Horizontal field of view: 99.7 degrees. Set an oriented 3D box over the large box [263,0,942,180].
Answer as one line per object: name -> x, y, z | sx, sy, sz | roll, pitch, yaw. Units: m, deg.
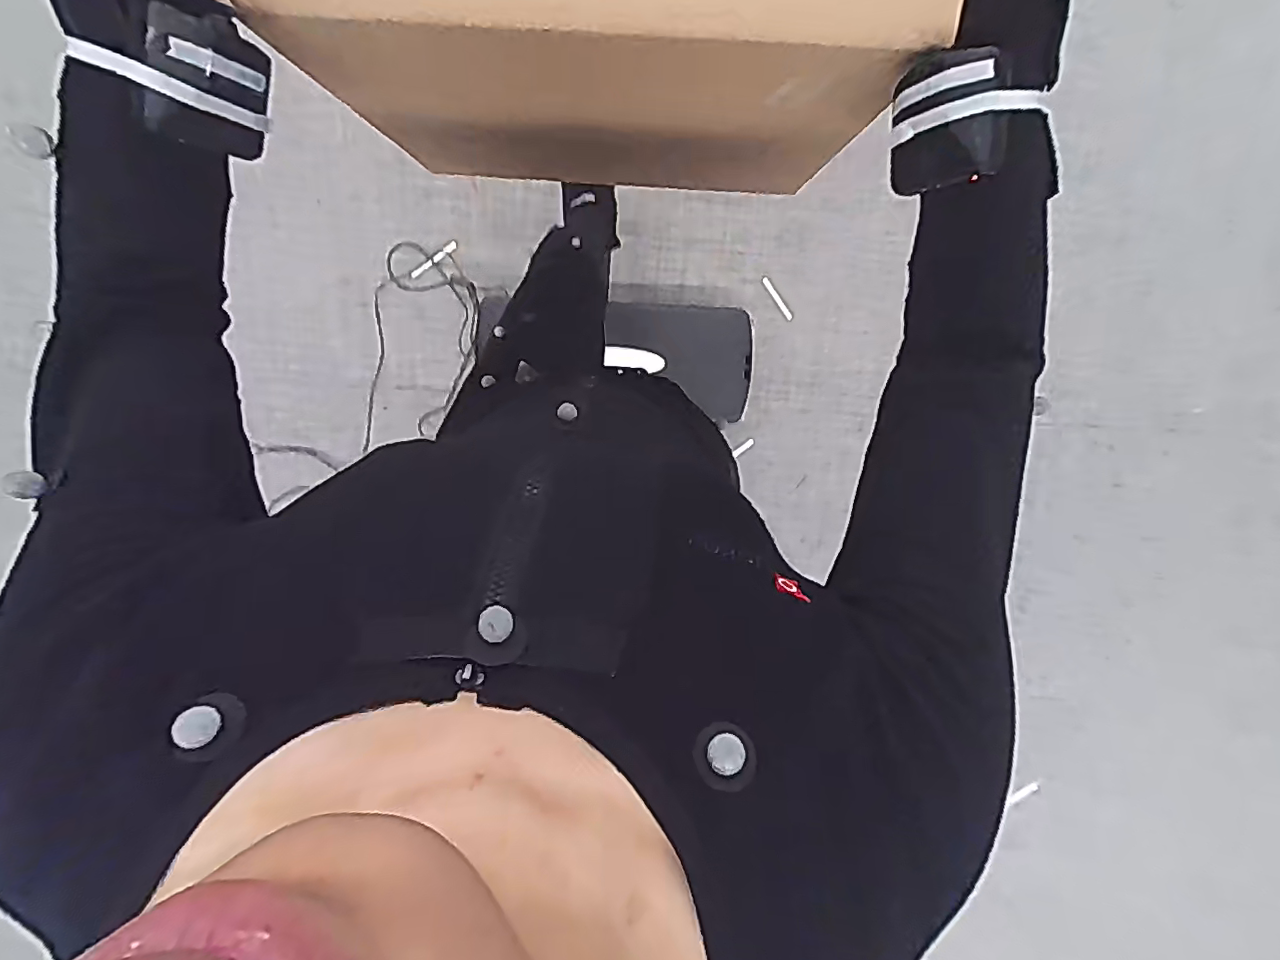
large box -> -0.022, -0.450, 0.418 | 0.408, 0.320, 0.320 | 2, 105, -1
